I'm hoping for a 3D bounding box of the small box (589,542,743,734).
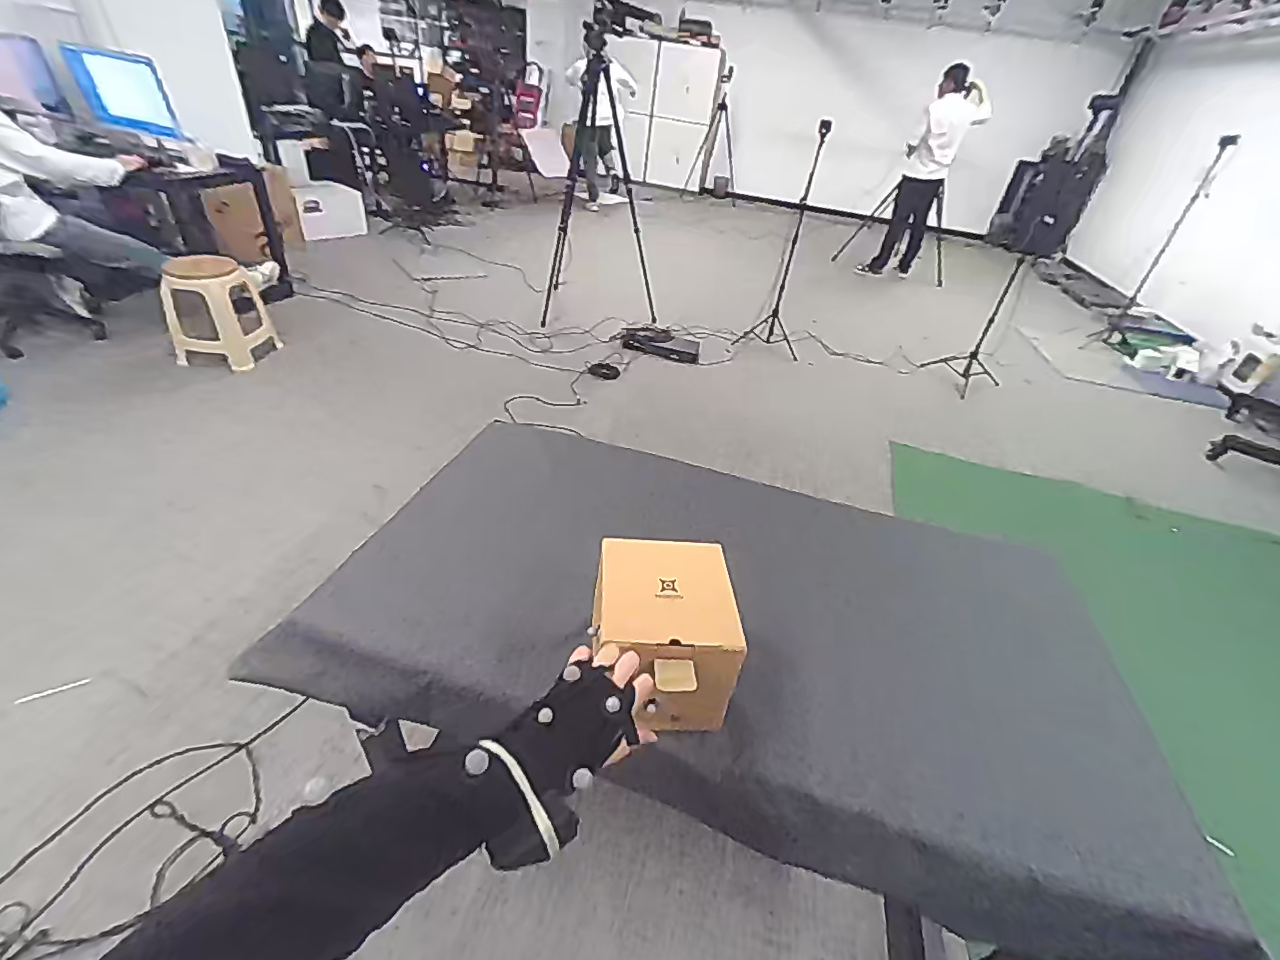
[{"bbox_3d":[0.021,0.205,0.711,0.168,0.176,0.179,4,36,-7],"label":"small box"}]
